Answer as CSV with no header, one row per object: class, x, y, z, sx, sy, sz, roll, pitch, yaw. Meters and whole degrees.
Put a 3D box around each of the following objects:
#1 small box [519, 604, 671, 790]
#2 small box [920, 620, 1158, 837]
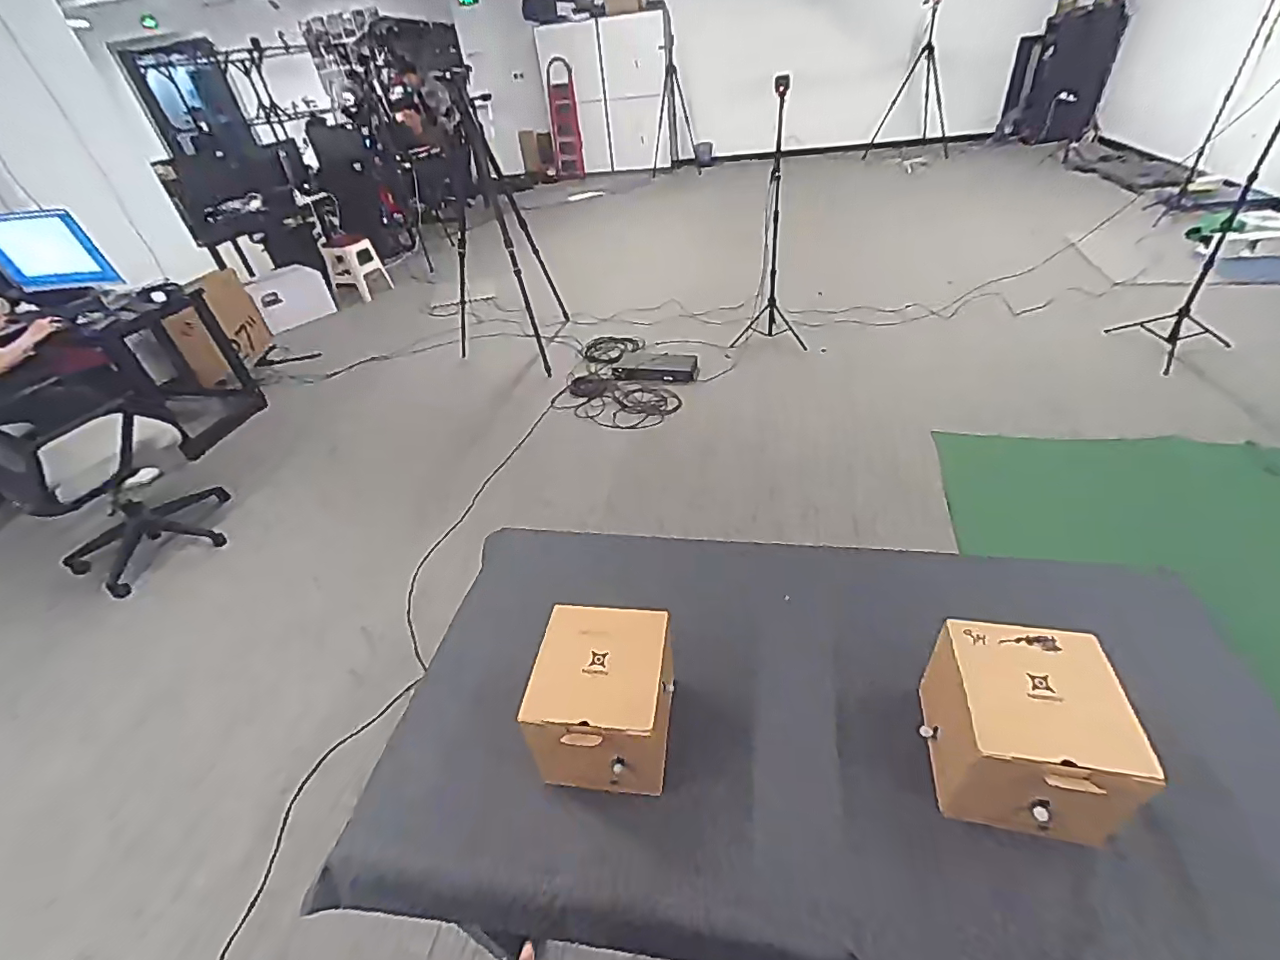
small box,-0.047,0.296,0.742,0.168,0.176,0.179,2,37,8
small box,0.458,0.300,0.658,0.168,0.176,0.179,4,40,14
